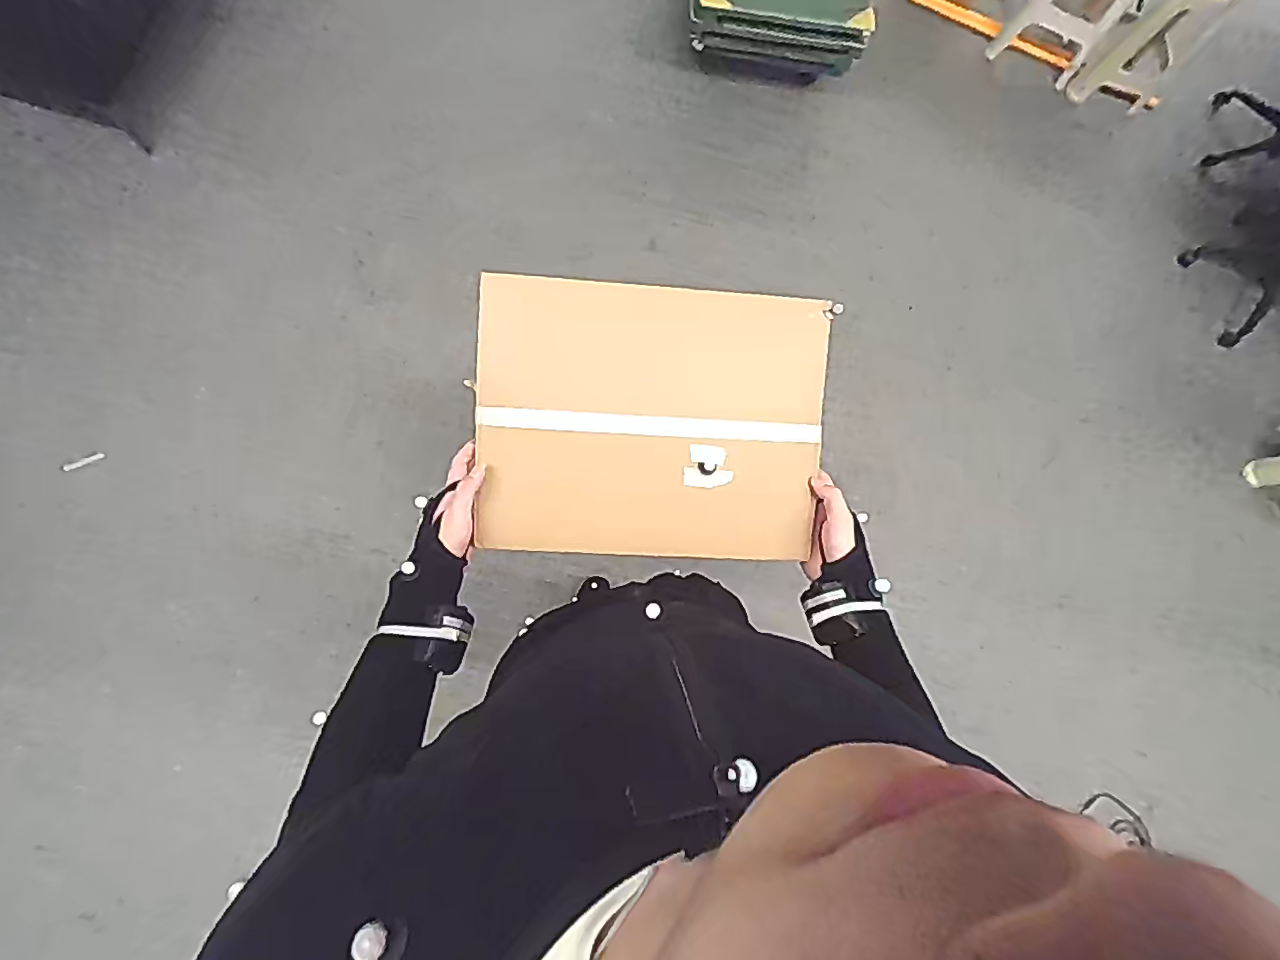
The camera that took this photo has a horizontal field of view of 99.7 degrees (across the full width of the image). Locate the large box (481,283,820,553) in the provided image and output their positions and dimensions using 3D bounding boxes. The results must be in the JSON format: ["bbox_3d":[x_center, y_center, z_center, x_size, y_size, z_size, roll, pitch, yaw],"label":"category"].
[{"bbox_3d":[-0.001,-0.079,0.787,0.408,0.320,0.320,2,96,-6],"label":"large box"}]
